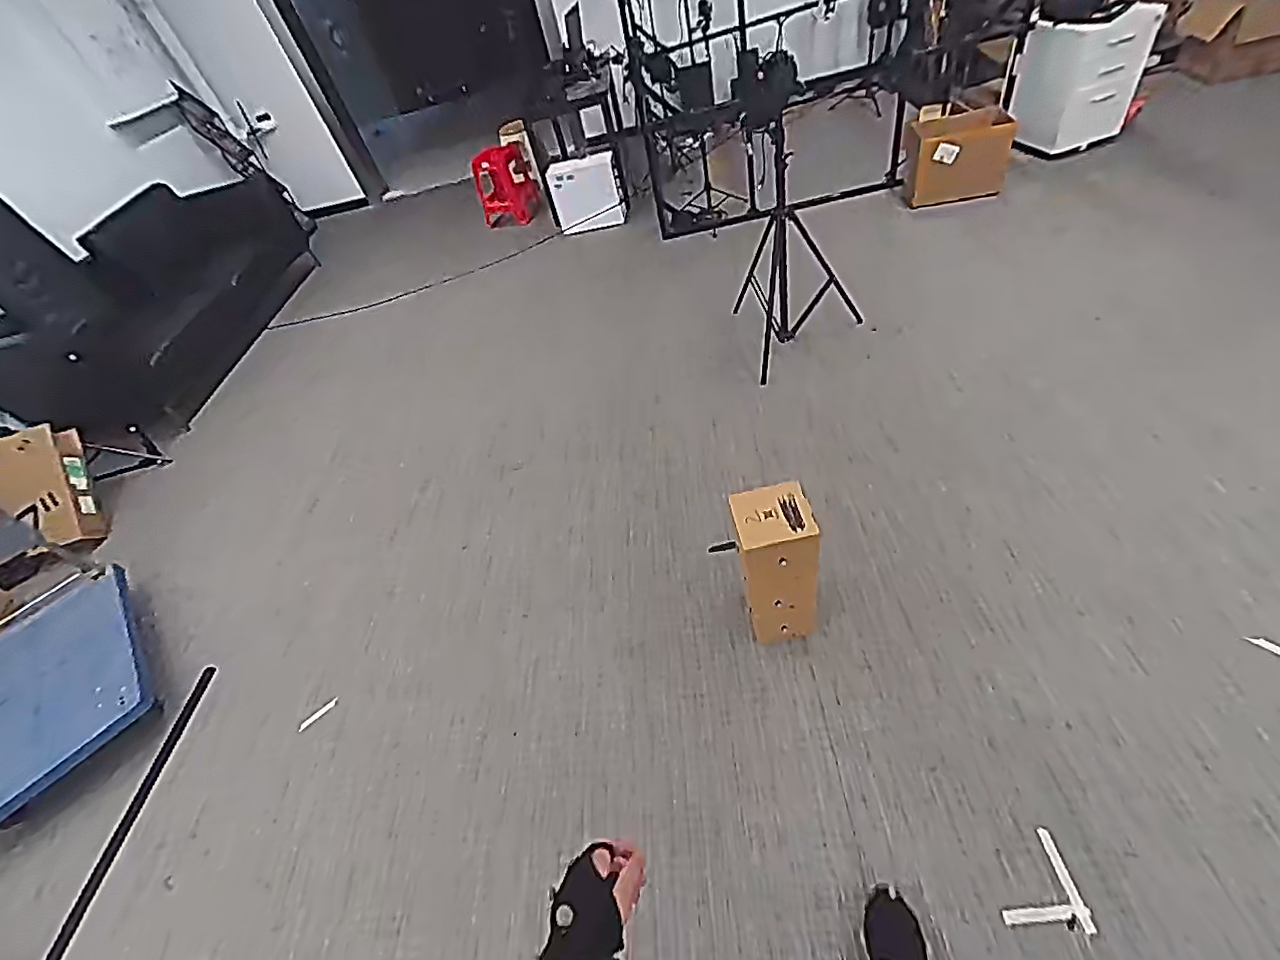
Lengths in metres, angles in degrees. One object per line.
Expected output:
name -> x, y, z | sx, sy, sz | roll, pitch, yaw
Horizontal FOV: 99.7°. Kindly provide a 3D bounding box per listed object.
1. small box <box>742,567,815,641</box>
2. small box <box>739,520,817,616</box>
small box -> 0.395, 0.342, 1.540 | 0.168, 0.176, 0.179 | -12, 45, 5
small box -> 0.360, 0.233, 1.424 | 0.168, 0.176, 0.179 | -12, 47, 7
